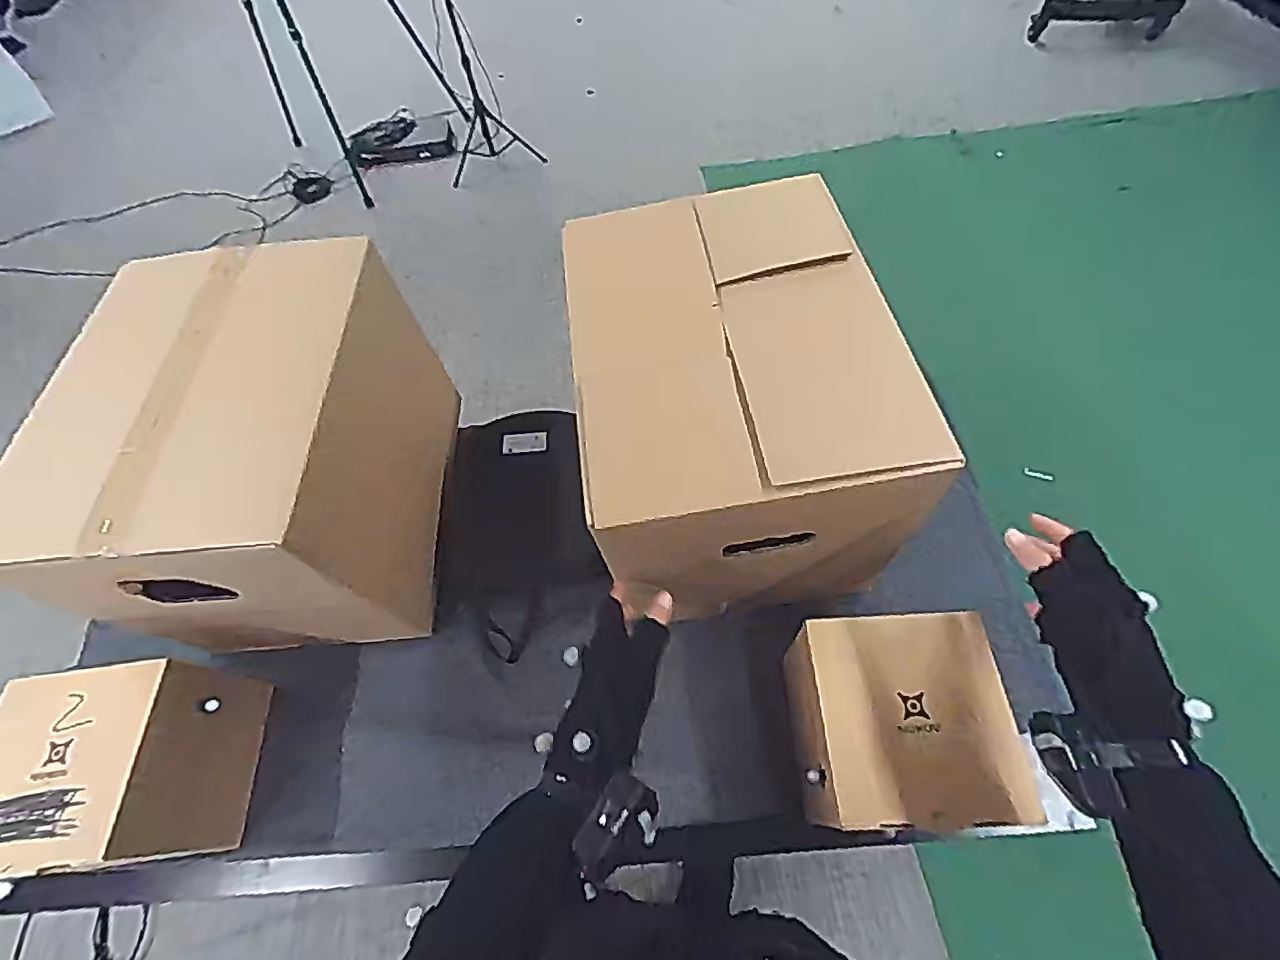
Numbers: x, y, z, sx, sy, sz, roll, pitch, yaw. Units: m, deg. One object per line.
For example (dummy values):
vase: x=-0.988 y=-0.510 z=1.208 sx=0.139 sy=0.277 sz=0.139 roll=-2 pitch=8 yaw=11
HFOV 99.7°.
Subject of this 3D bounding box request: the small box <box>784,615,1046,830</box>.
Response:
small box: x=0.250 y=0.248 z=0.550 sx=0.168 sy=0.176 sz=0.179 roll=-3 pitch=61 yaw=3
